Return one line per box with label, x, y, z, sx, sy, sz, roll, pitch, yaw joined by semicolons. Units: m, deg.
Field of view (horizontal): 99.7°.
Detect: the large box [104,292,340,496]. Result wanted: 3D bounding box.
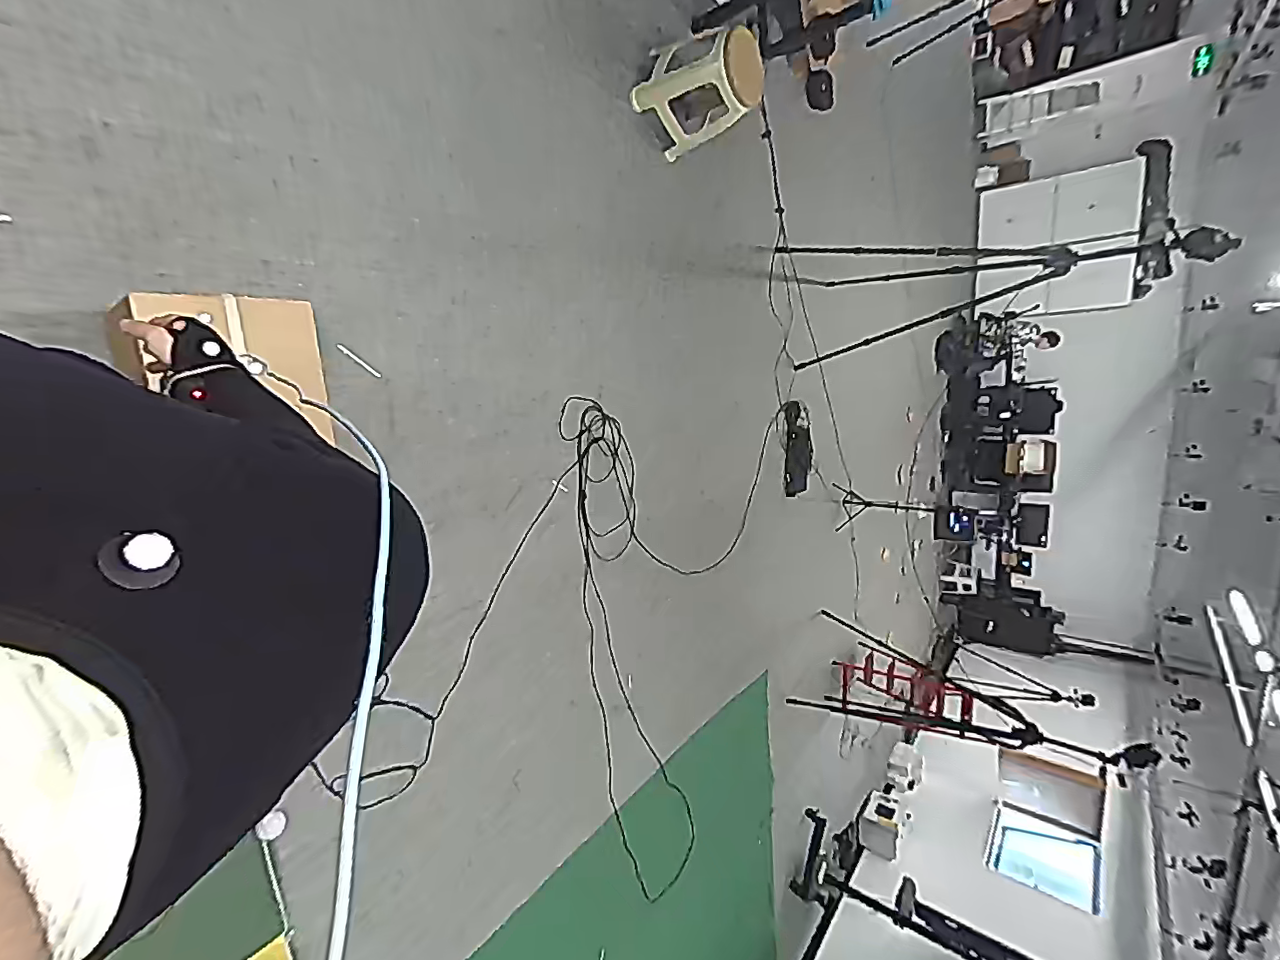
large box;-0.951;-0.204;1.246;0.320;0.320;0.408;-17;109;-48
